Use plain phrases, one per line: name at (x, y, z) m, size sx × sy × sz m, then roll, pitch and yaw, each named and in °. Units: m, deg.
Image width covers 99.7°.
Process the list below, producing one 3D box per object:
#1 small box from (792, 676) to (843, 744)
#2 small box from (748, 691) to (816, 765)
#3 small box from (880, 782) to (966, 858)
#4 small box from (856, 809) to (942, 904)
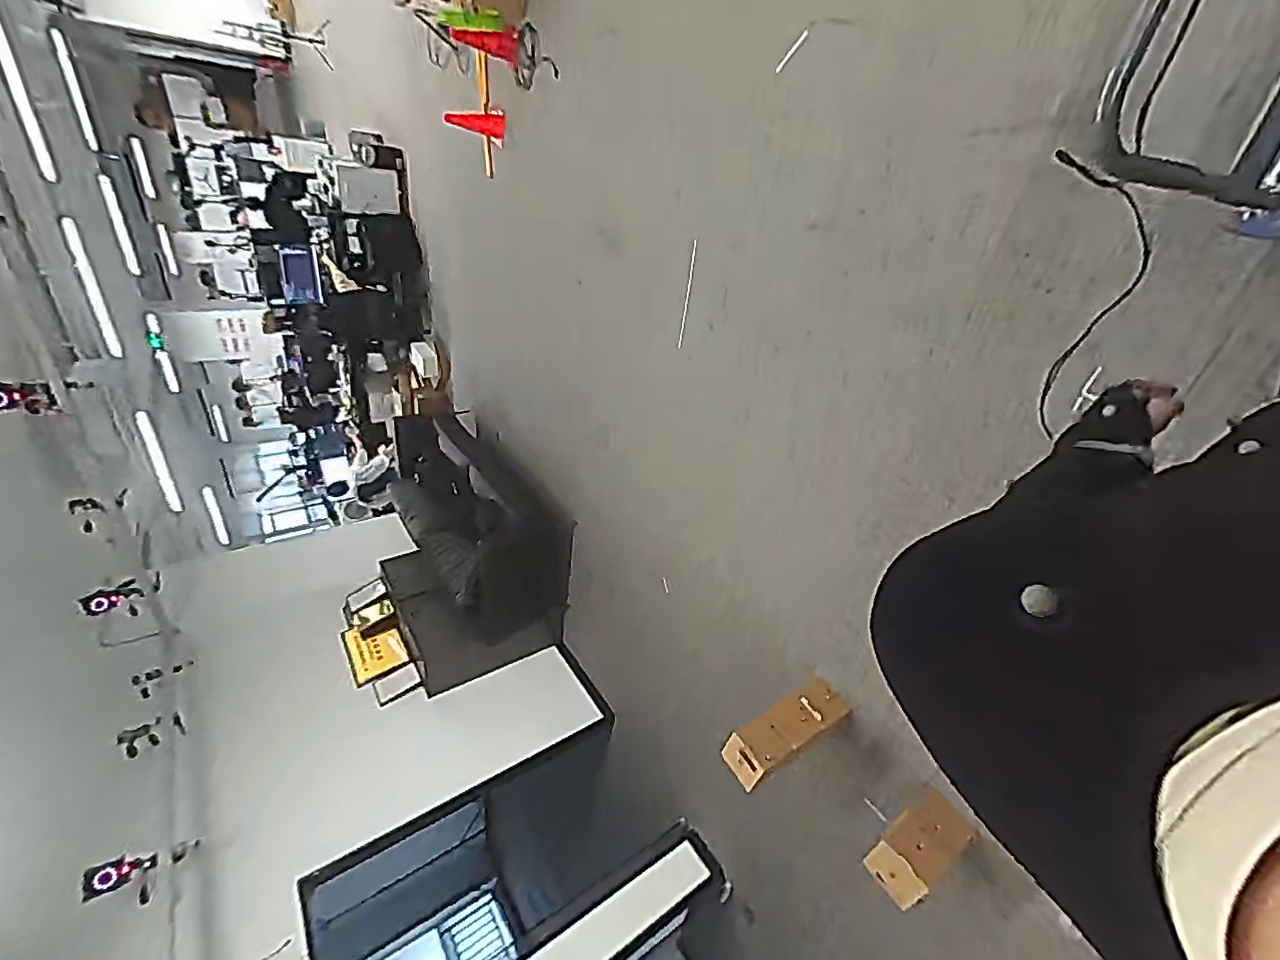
small box at (0.693, 0.939, 2.206) m, size 0.168 × 0.176 × 0.179 m, roll 49°, pitch 137°, yaw 31°
small box at (0.559, 0.970, 2.123) m, size 0.168 × 0.176 × 0.179 m, roll 47°, pitch 136°, yaw 37°
small box at (0.988, 1.202, 1.881) m, size 0.179 × 0.176 × 0.168 m, roll 46°, pitch 136°, yaw 37°
small box at (0.859, 1.235, 1.784) m, size 0.168 × 0.176 × 0.179 m, roll 45°, pitch 134°, yaw 37°
